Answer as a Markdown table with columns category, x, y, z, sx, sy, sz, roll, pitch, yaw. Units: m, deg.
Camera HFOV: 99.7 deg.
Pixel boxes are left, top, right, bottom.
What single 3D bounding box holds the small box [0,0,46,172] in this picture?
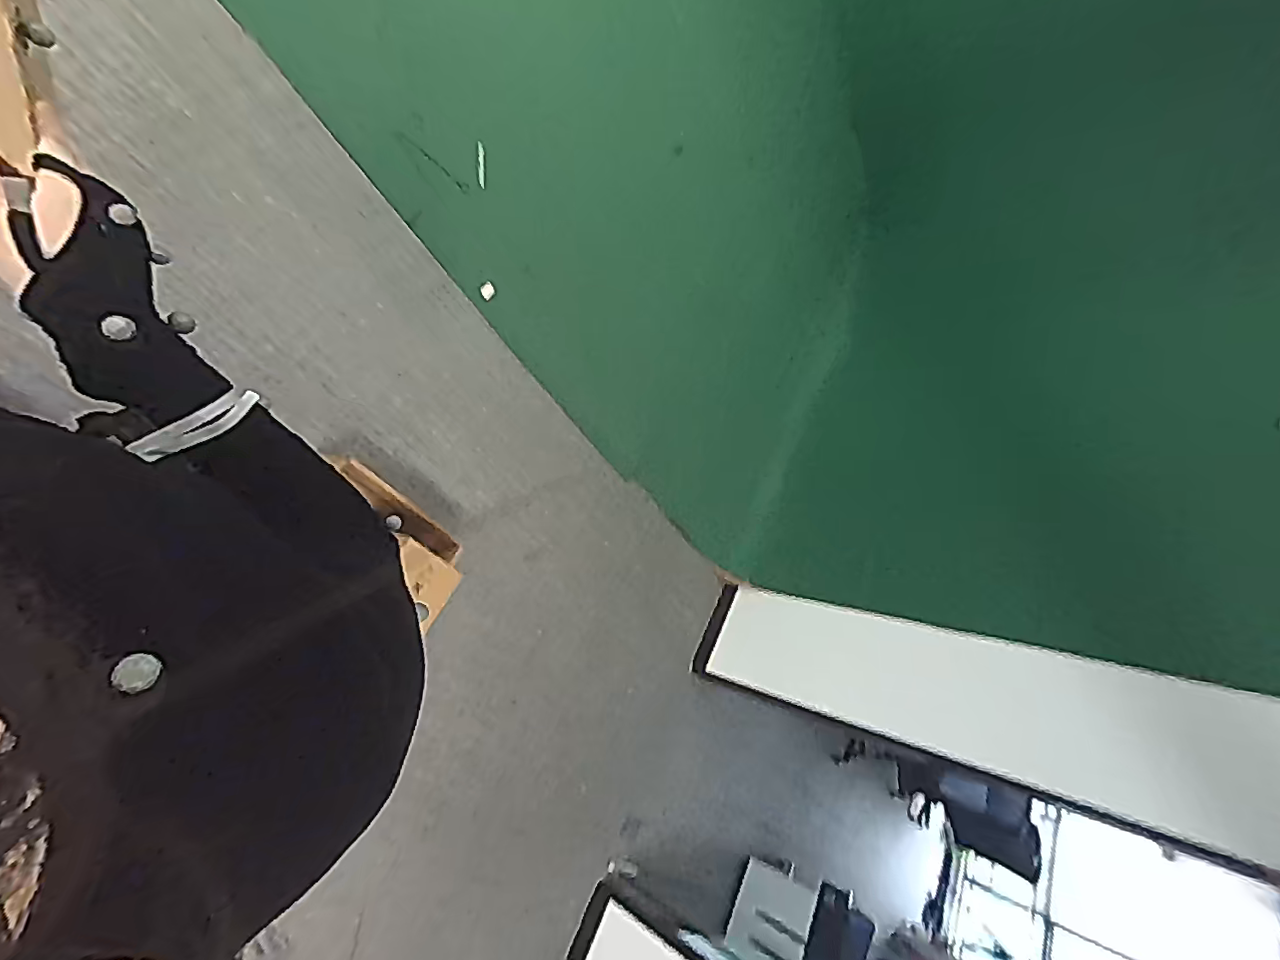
| category | x | y | z | sx | sy | sz | roll | pitch | yaw |
| --- | --- | --- | --- | --- | --- | --- | --- | --- | --- |
| small box | -0.457 | -0.292 | 0.285 | 0.168 | 0.176 | 0.179 | -10 | 129 | -39 |
